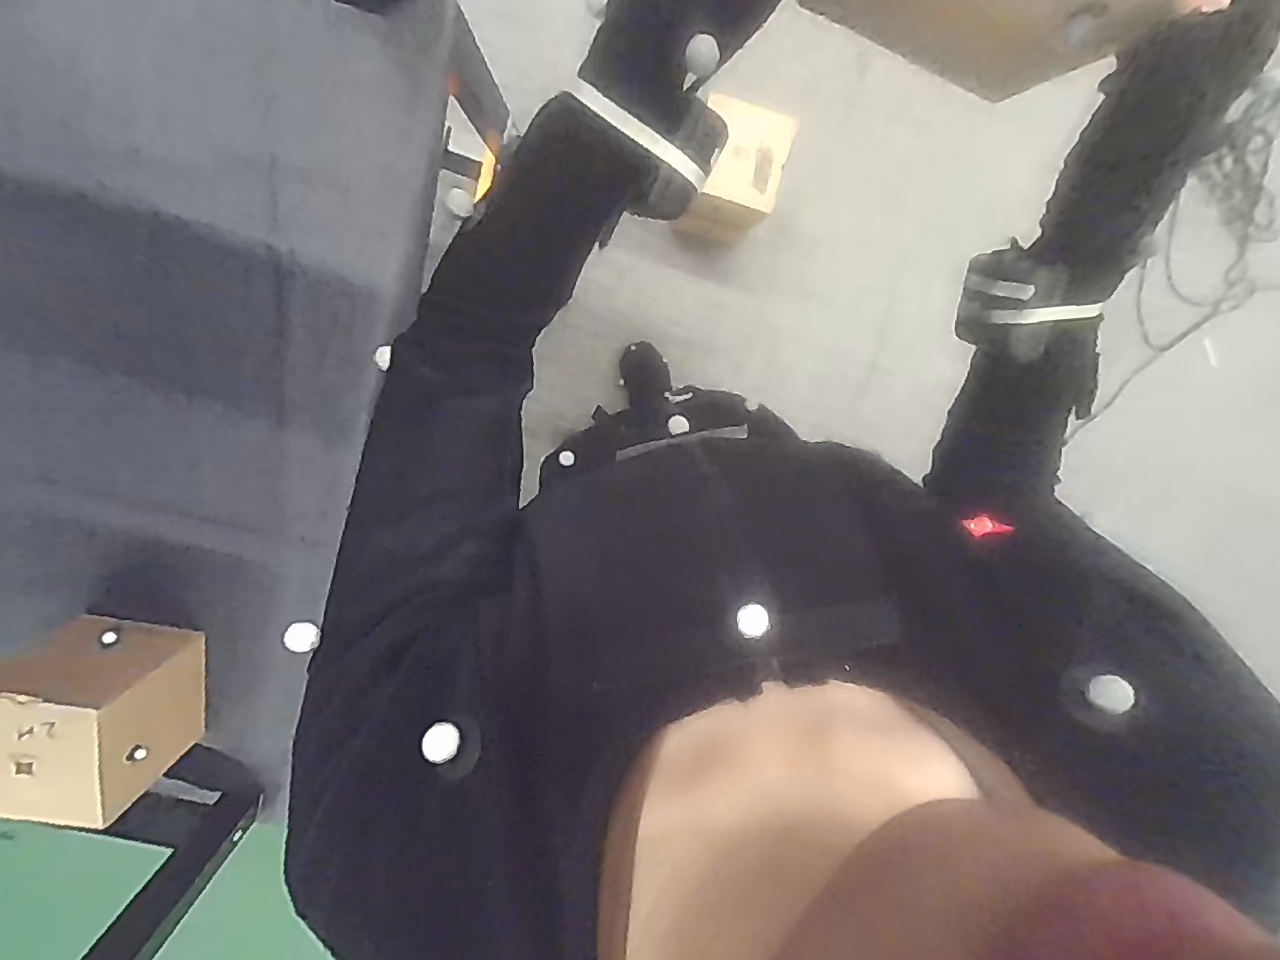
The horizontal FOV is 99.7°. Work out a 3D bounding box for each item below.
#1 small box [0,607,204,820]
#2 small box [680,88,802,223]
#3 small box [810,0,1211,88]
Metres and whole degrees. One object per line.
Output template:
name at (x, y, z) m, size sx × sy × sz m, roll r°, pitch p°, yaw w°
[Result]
small box at (-0.711, 0.294, 0.703) m, size 0.168 × 0.176 × 0.179 m, roll 11°, pitch 104°, yaw -6°
small box at (0.189, -0.625, 1.068) m, size 0.179 × 0.176 × 0.168 m, roll 15°, pitch 104°, yaw -5°
small box at (0.211, -0.345, 0.284) m, size 0.179 × 0.176 × 0.168 m, roll 19°, pitch 113°, yaw -8°
